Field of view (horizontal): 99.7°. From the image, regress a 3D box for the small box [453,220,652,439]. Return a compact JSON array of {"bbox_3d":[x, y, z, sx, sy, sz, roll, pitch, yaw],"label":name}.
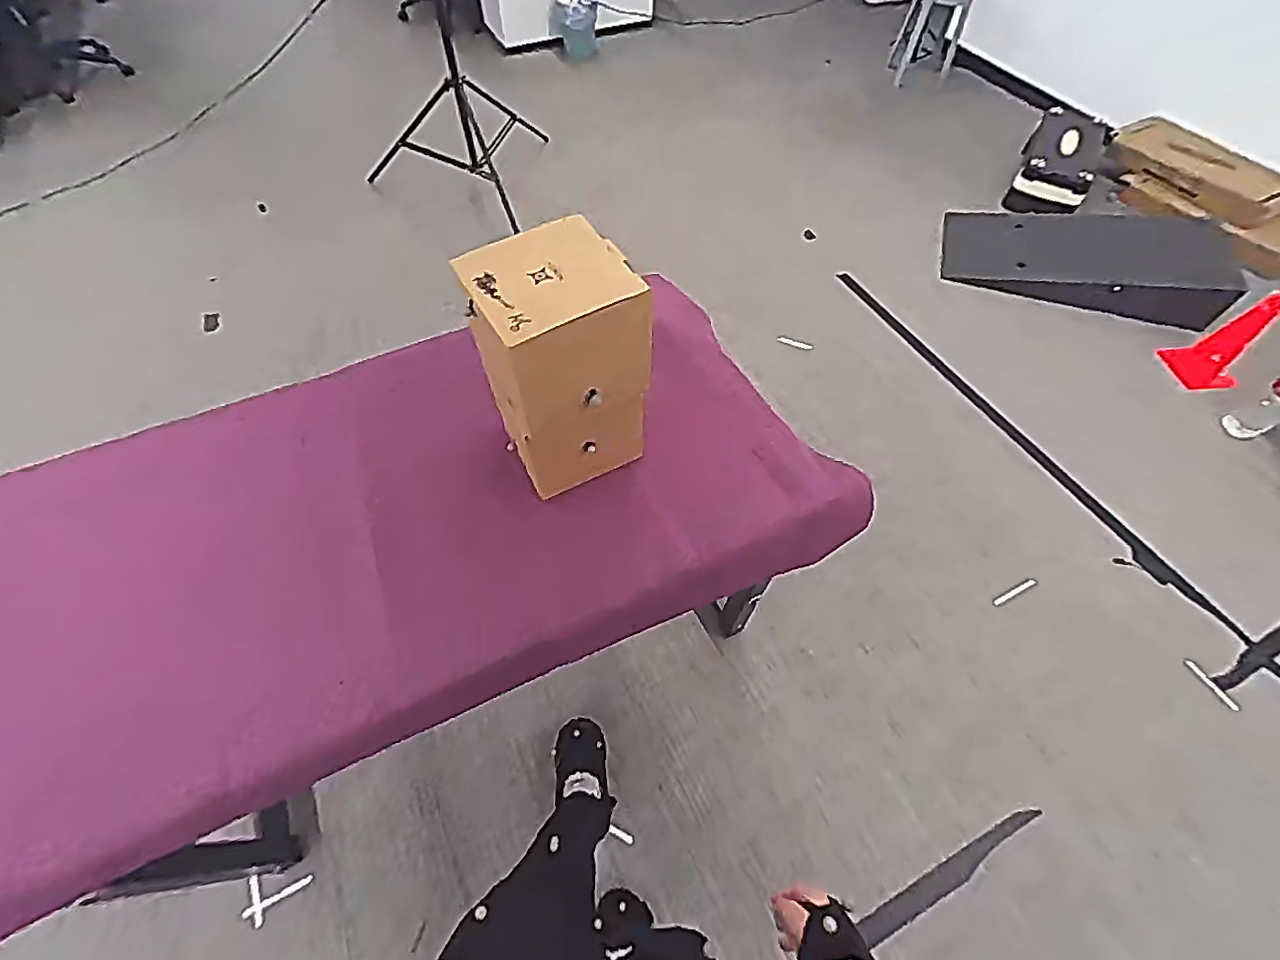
[{"bbox_3d":[-0.103,-0.183,0.676,0.179,0.176,0.168,-27,62,-17],"label":"small box"}]
